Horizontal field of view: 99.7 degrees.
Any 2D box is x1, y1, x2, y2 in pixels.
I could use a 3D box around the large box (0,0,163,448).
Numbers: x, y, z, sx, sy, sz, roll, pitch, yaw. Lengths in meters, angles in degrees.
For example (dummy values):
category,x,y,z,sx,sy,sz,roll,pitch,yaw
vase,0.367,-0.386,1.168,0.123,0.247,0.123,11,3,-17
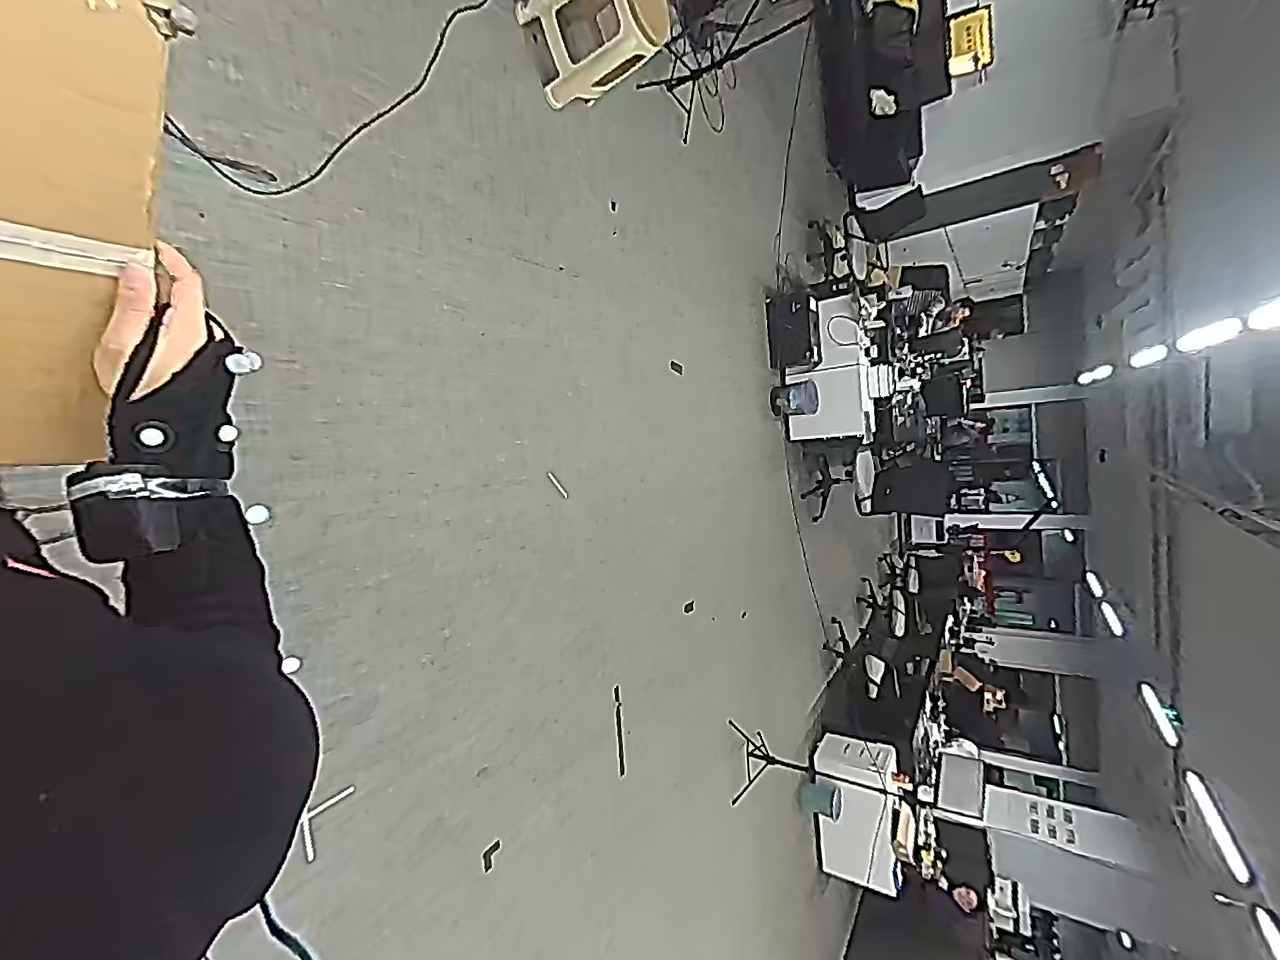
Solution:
category,x,y,z,sx,sy,sz,roll,pitch,yaw
large box,-0.555,-0.220,0.277,0.408,0.320,0.320,-7,132,-53
